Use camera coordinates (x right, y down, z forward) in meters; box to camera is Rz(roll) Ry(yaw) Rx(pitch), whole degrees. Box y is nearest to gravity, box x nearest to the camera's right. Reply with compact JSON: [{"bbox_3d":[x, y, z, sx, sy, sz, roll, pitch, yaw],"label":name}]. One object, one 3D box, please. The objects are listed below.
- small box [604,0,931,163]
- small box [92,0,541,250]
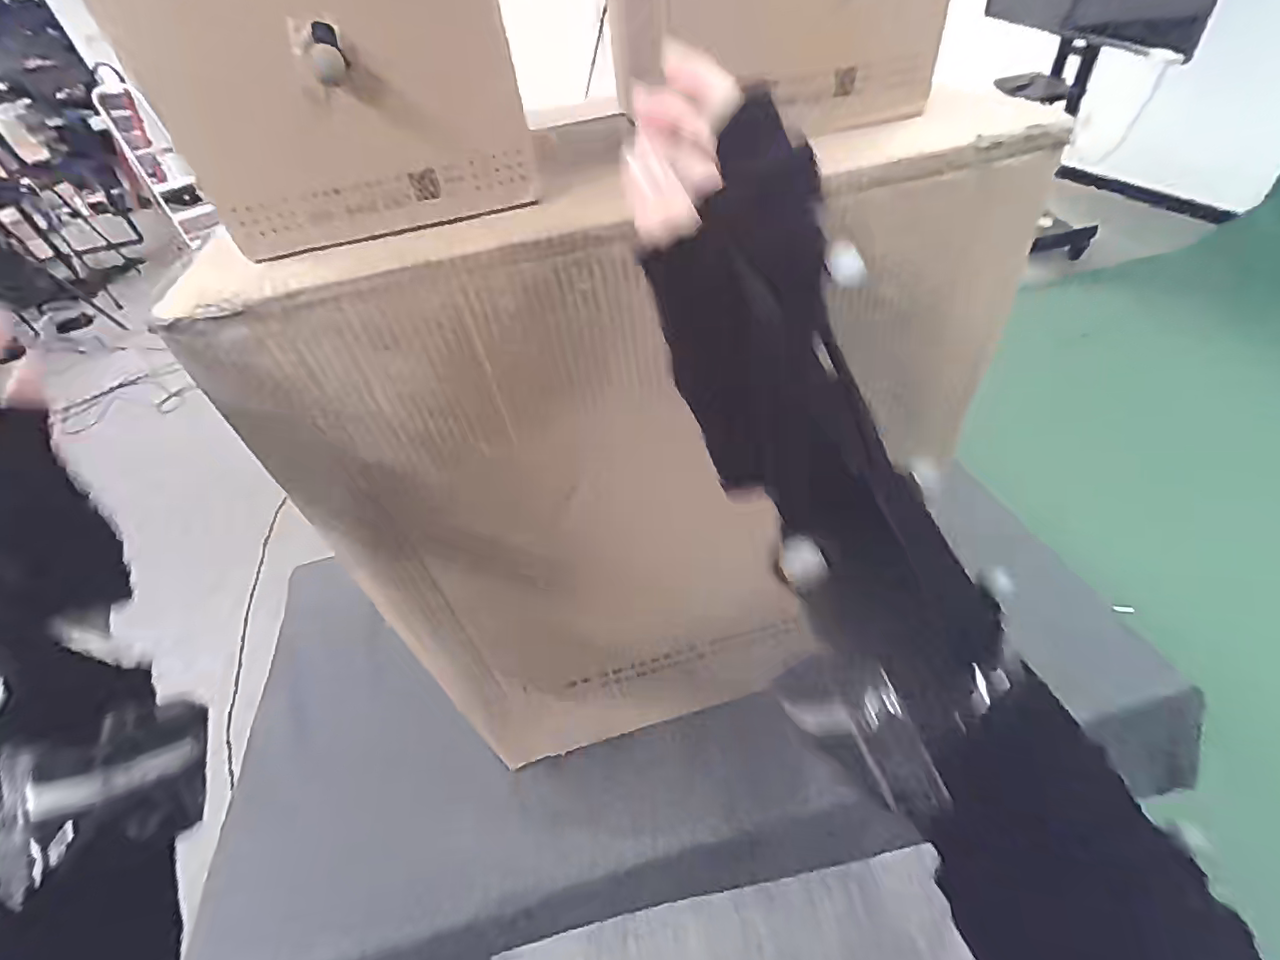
[{"bbox_3d":[0.072,-0.317,0.345,0.168,0.176,0.179,-13,43,-7],"label":"small box"},{"bbox_3d":[-0.160,-0.247,0.305,0.168,0.176,0.179,-14,46,-6],"label":"small box"}]
